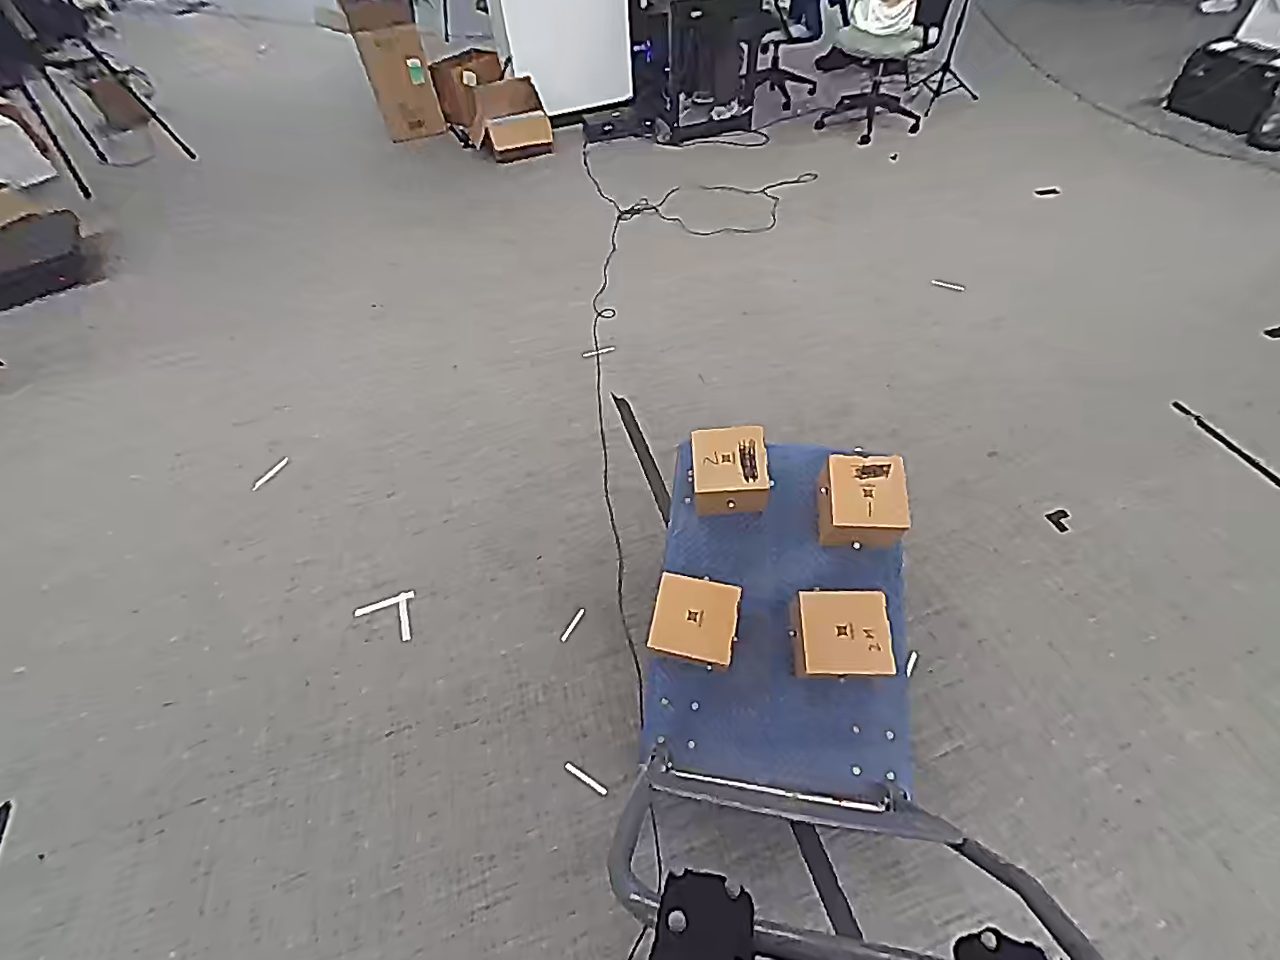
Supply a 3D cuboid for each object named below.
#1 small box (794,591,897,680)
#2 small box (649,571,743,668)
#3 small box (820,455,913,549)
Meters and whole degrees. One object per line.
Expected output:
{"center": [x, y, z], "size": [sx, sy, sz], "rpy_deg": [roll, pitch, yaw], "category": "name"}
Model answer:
{"center": [0.433, 0.341, 1.173], "size": [0.179, 0.176, 0.168], "rpy_deg": [-1, 67, 8], "category": "small box"}
{"center": [0.129, 0.321, 1.223], "size": [0.179, 0.176, 0.168], "rpy_deg": [10, 68, 10], "category": "small box"}
{"center": [0.528, 0.054, 1.283], "size": [0.168, 0.176, 0.179], "rpy_deg": [2, 68, 9], "category": "small box"}
